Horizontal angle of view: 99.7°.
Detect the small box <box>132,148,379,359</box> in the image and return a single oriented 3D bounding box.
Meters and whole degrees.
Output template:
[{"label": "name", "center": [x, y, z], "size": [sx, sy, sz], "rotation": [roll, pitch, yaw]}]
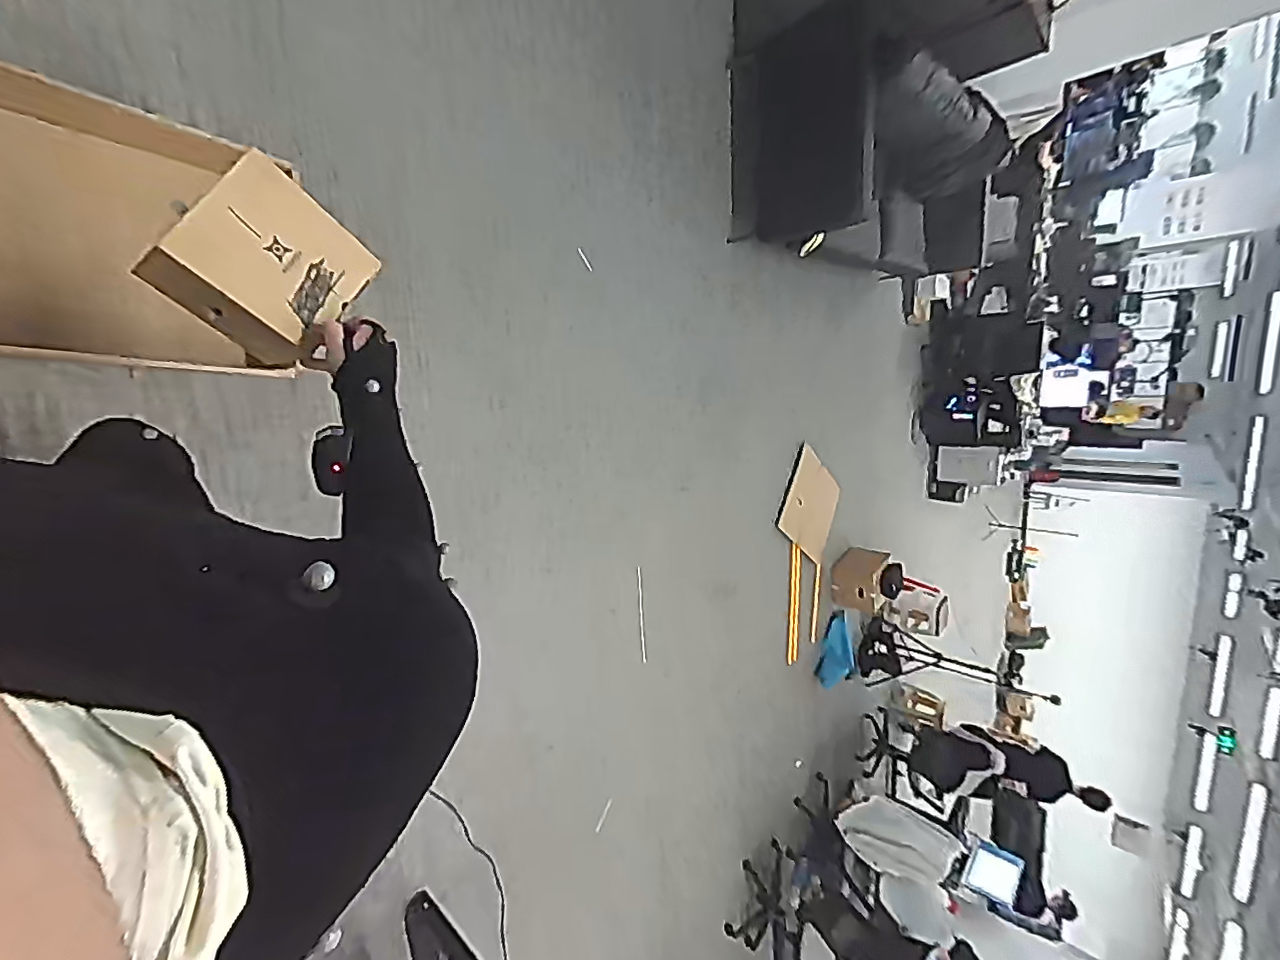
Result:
[{"label": "small box", "center": [-0.483, -0.270, 0.686], "size": [0.179, 0.176, 0.168], "rotation": [45, 61, -43]}]
